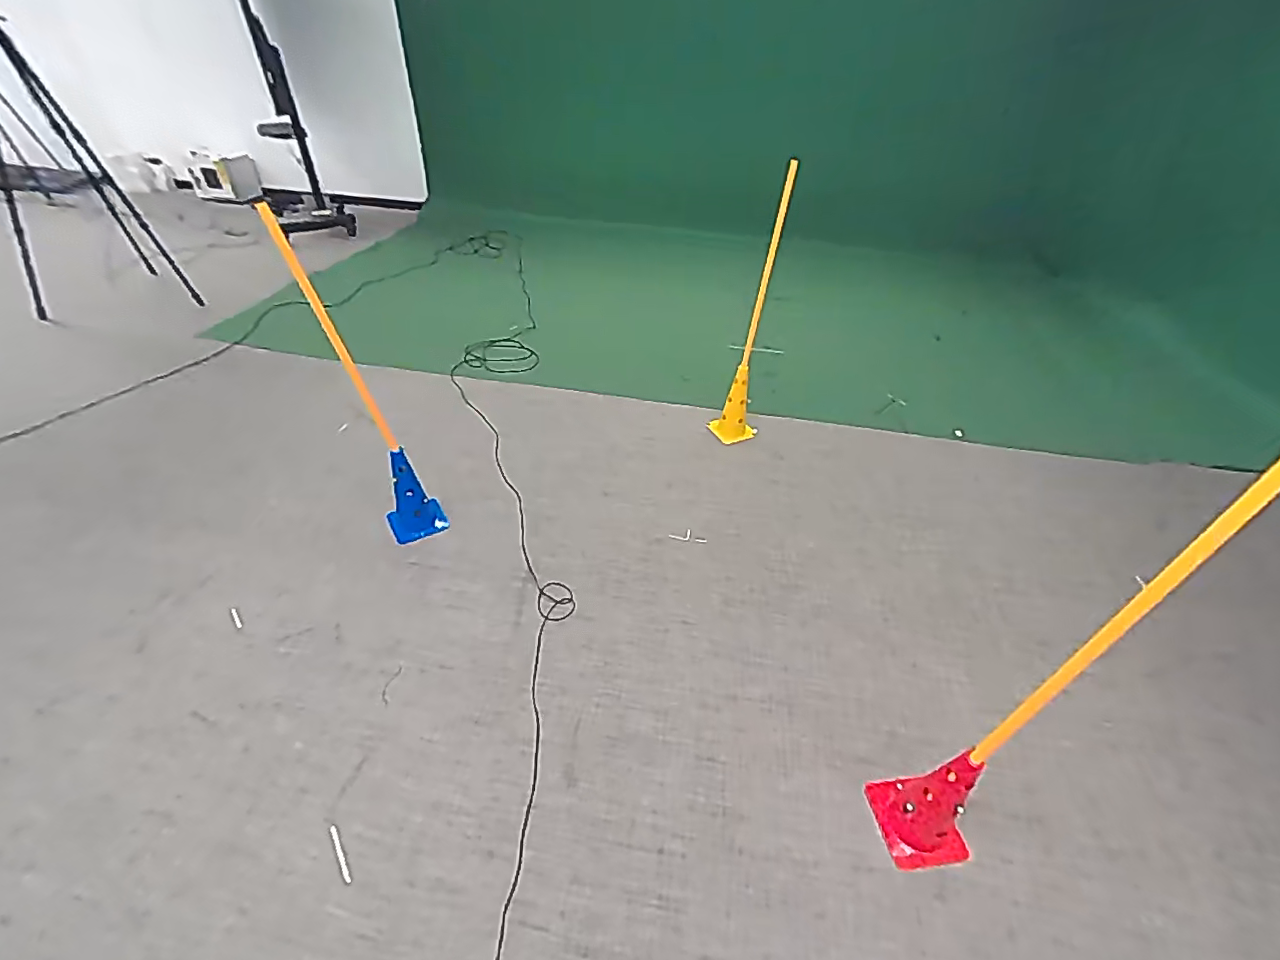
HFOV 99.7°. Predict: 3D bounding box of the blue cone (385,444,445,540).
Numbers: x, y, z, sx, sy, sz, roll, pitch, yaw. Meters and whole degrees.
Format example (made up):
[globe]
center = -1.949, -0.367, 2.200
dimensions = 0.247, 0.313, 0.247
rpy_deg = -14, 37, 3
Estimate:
[blue cone]
center = -0.873, 0.028, 2.006
dimensions = 0.193, 0.380, 0.192
rpy_deg = -24, 48, -26
